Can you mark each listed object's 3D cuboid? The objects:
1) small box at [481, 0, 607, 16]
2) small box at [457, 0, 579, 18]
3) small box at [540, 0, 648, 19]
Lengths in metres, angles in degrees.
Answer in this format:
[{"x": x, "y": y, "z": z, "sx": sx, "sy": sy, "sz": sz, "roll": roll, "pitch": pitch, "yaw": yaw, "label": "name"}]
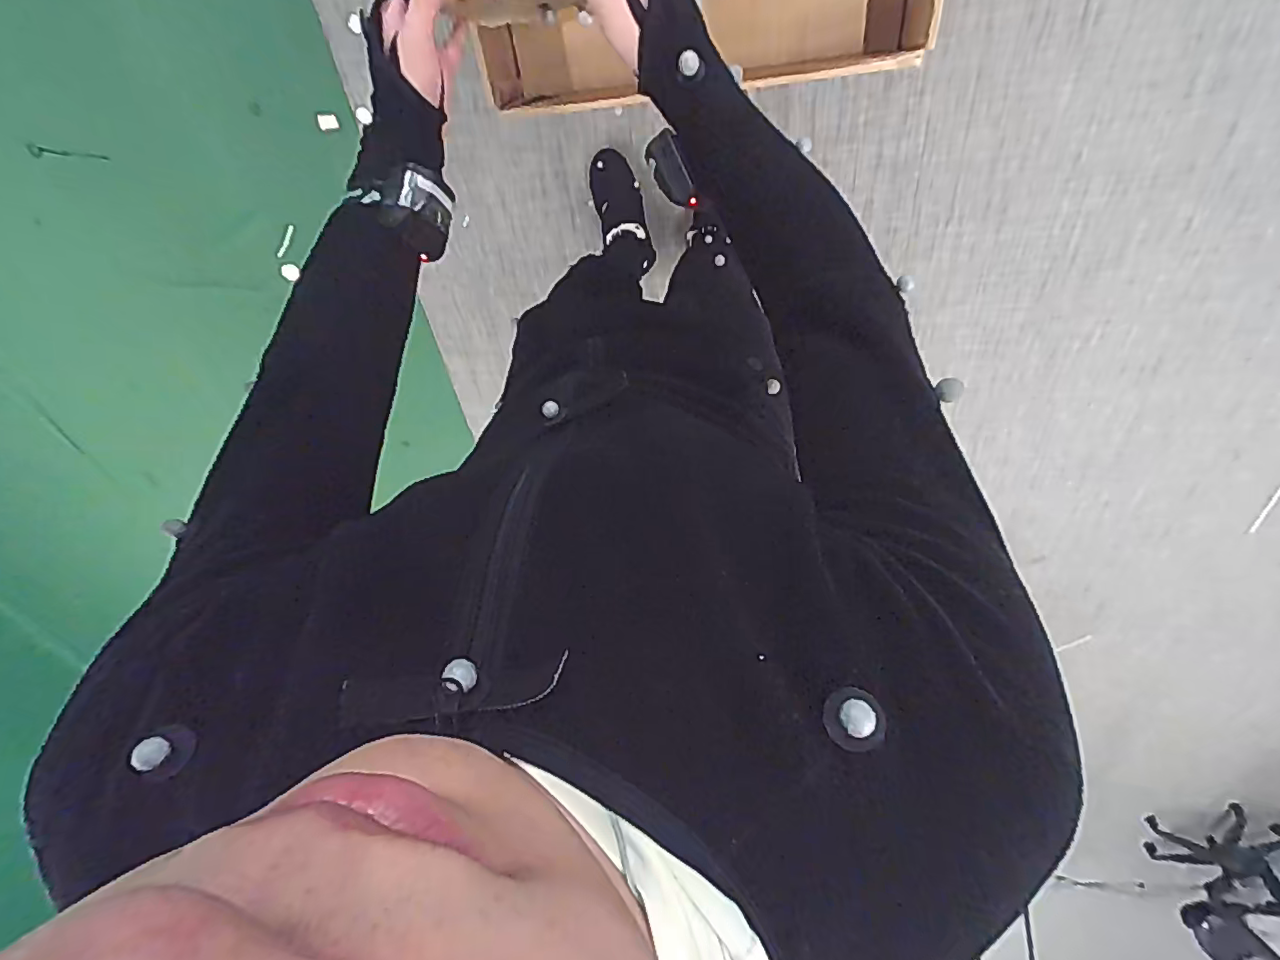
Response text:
[{"x": -0.092, "y": -0.618, "z": 0.575, "sx": 0.179, "sy": 0.176, "sz": 0.168, "roll": -4, "pitch": 128, "yaw": 10, "label": "small box"}, {"x": -0.106, "y": -0.512, "z": 0.441, "sx": 0.168, "sy": 0.176, "sz": 0.179, "roll": -4, "pitch": 126, "yaw": 11, "label": "small box"}, {"x": -0.075, "y": -0.720, "z": 0.702, "sx": 0.179, "sy": 0.176, "sz": 0.168, "roll": -3, "pitch": 128, "yaw": 8, "label": "small box"}]
